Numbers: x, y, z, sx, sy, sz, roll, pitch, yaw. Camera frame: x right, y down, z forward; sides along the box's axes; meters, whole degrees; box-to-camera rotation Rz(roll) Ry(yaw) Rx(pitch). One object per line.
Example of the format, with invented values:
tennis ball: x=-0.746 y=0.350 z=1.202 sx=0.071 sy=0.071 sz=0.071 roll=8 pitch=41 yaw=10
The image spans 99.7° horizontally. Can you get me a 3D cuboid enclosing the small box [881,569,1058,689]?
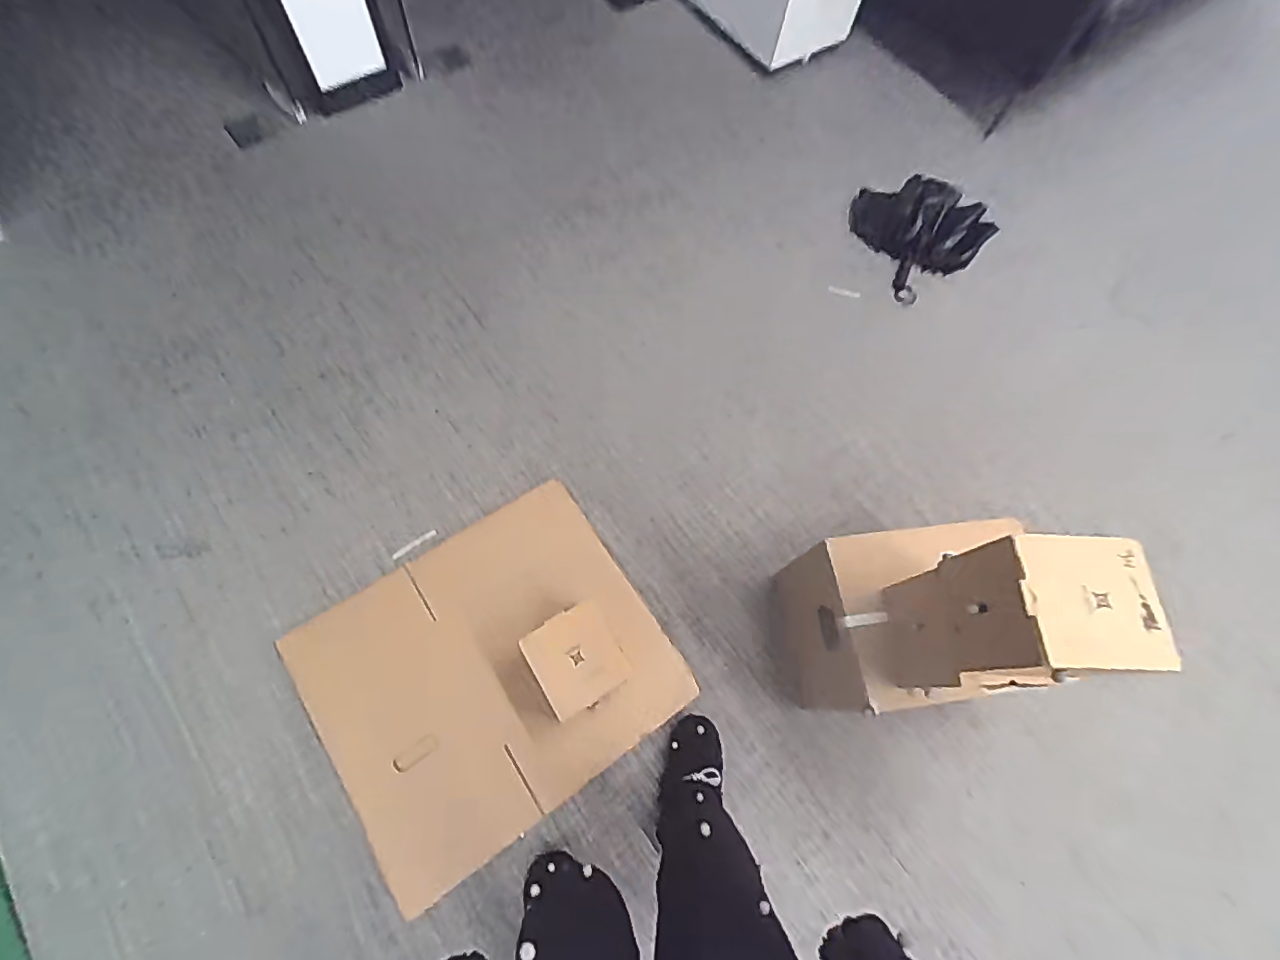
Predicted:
small box: x=0.528 y=0.252 z=0.894 sx=0.168 sy=0.176 sz=0.179 roll=1 pitch=67 yaw=-5

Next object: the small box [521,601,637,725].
small box: x=-0.124 y=0.377 z=1.105 sx=0.168 sy=0.176 sz=0.179 roll=-30 pitch=73 yaw=-15

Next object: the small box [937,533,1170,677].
small box: x=0.547 y=0.178 z=0.752 sx=0.179 sy=0.176 sz=0.168 roll=0 pitch=65 yaw=-6
